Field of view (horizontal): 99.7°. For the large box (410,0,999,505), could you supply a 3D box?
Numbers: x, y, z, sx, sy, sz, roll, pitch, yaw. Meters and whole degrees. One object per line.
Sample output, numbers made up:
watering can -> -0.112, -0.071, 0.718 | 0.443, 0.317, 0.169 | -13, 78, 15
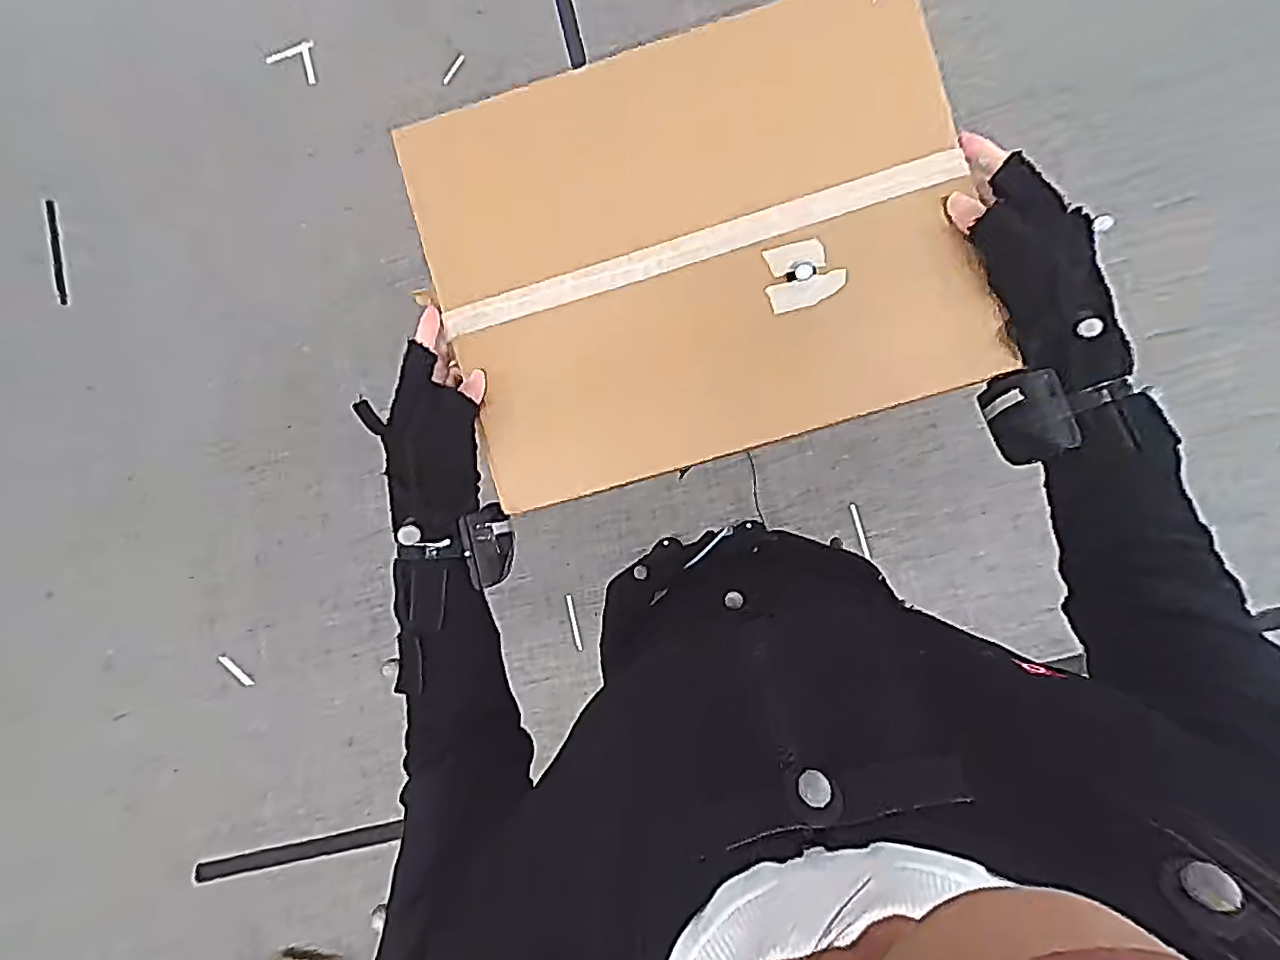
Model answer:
large box -> 0.051, -0.183, 0.572 | 0.408, 0.320, 0.320 | -17, 91, 3
